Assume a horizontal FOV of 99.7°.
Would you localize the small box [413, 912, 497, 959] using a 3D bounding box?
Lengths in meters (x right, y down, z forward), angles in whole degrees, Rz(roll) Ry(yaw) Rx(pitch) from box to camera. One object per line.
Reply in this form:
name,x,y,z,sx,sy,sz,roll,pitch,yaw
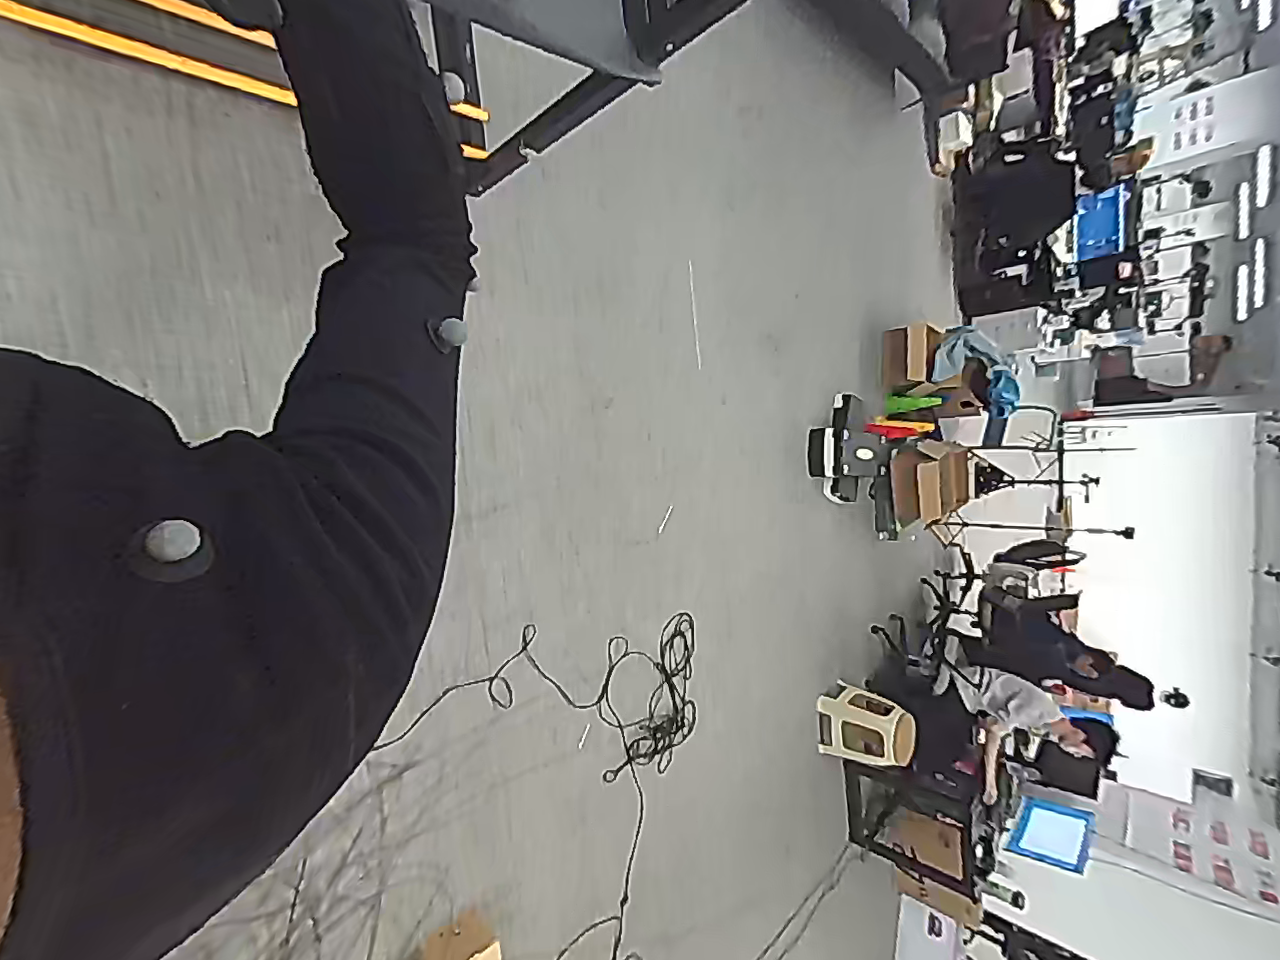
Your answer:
small box,-0.514,1.380,1.513,0.168,0.176,0.179,-11,97,-46
